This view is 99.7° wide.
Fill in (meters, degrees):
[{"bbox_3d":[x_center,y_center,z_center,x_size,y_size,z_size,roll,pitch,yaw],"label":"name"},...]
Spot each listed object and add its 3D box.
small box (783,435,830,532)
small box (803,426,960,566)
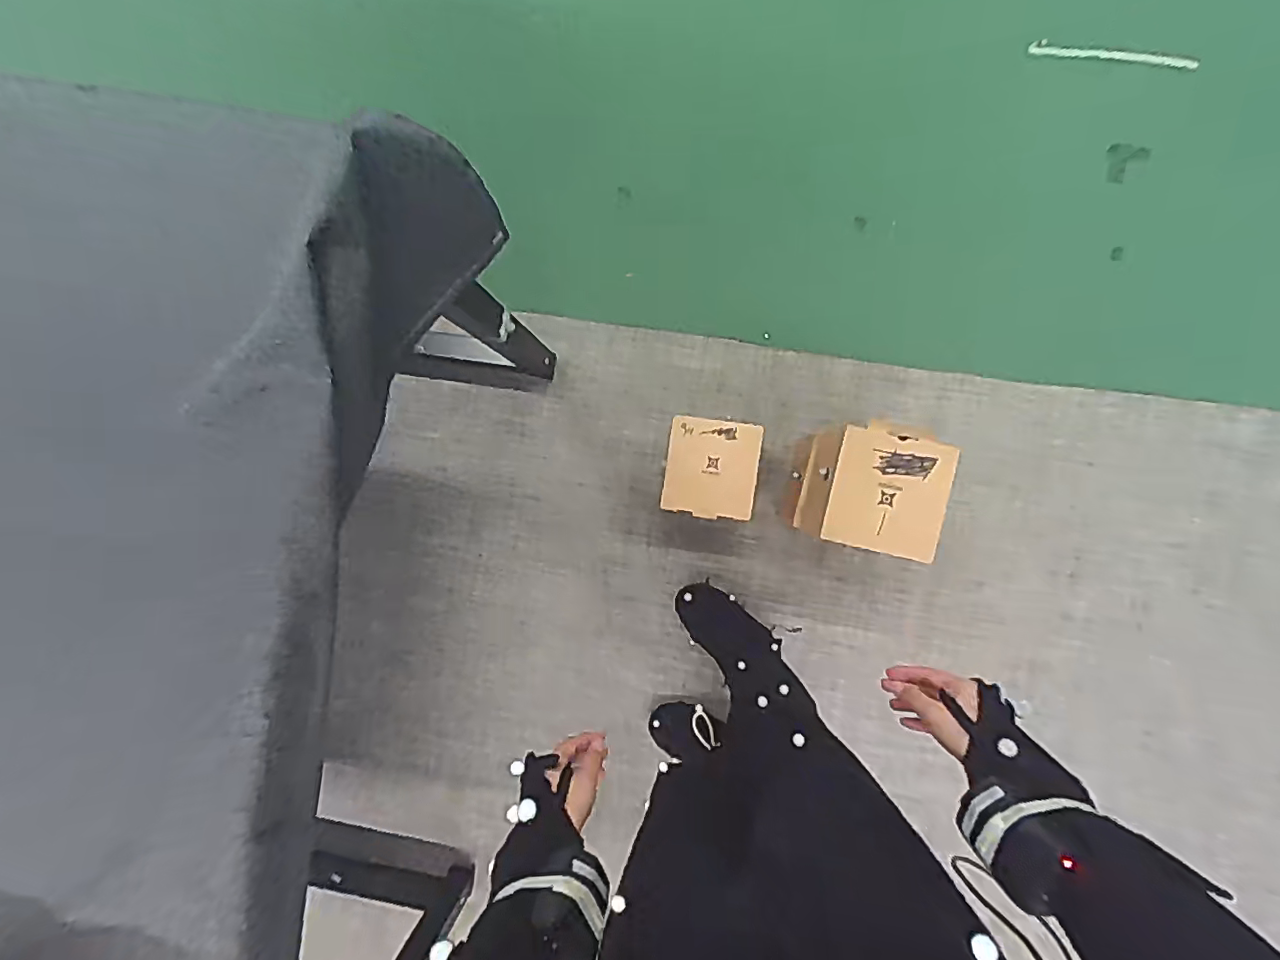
[{"bbox_3d":[0.381,0.022,1.030,0.168,0.176,0.179,13,92,6],"label":"small box"},{"bbox_3d":[0.372,0.023,0.866,0.168,0.176,0.179,13,91,6],"label":"small box"}]
